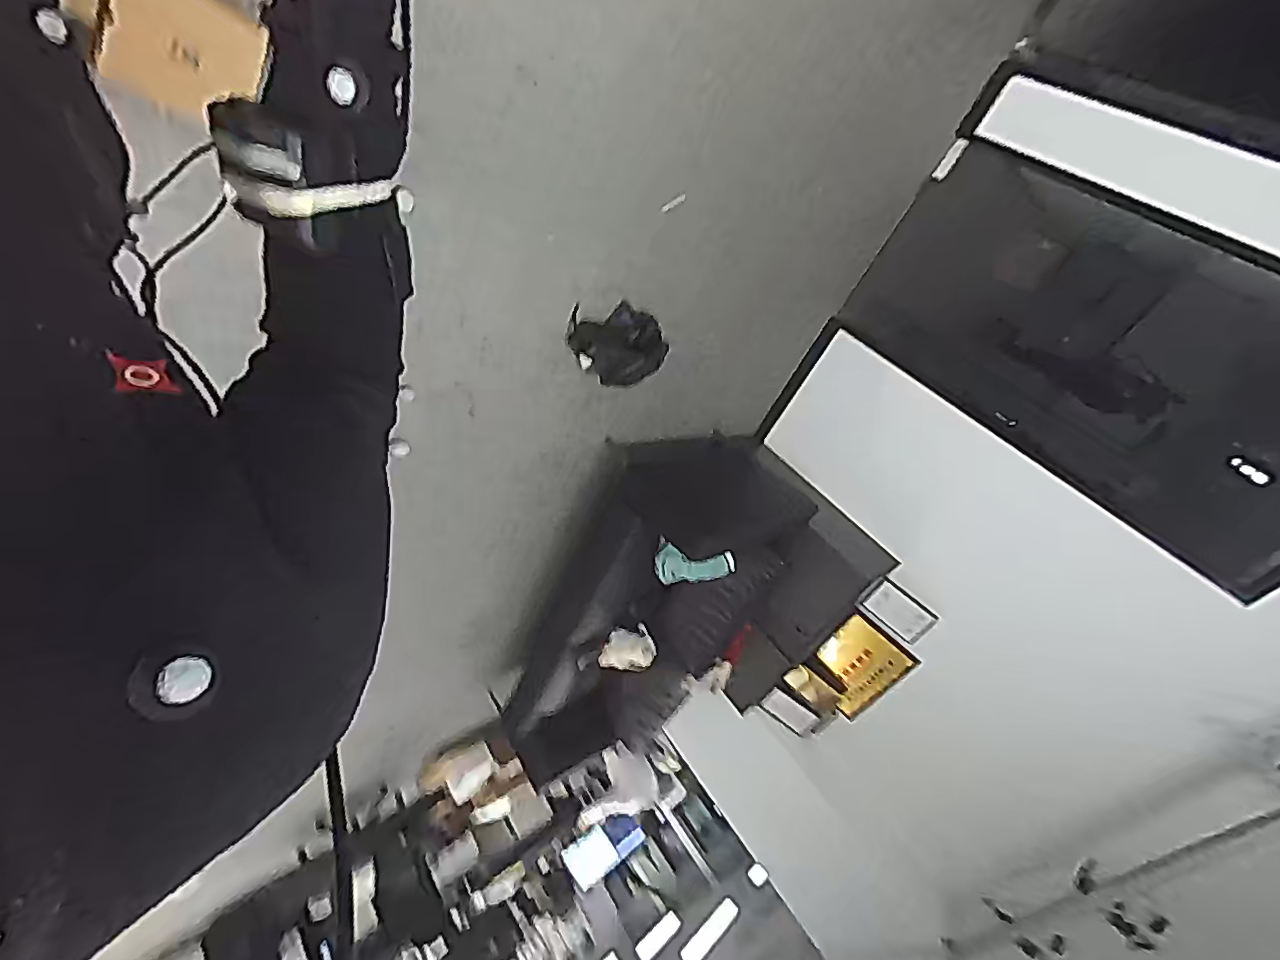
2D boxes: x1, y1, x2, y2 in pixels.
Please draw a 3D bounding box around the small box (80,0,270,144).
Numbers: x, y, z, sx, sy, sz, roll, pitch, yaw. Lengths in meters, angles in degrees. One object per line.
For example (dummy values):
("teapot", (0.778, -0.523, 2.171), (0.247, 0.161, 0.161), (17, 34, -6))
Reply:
("small box", (-0.709, -0.666, 0.824), (0.179, 0.176, 0.168), (3, 129, -54))
